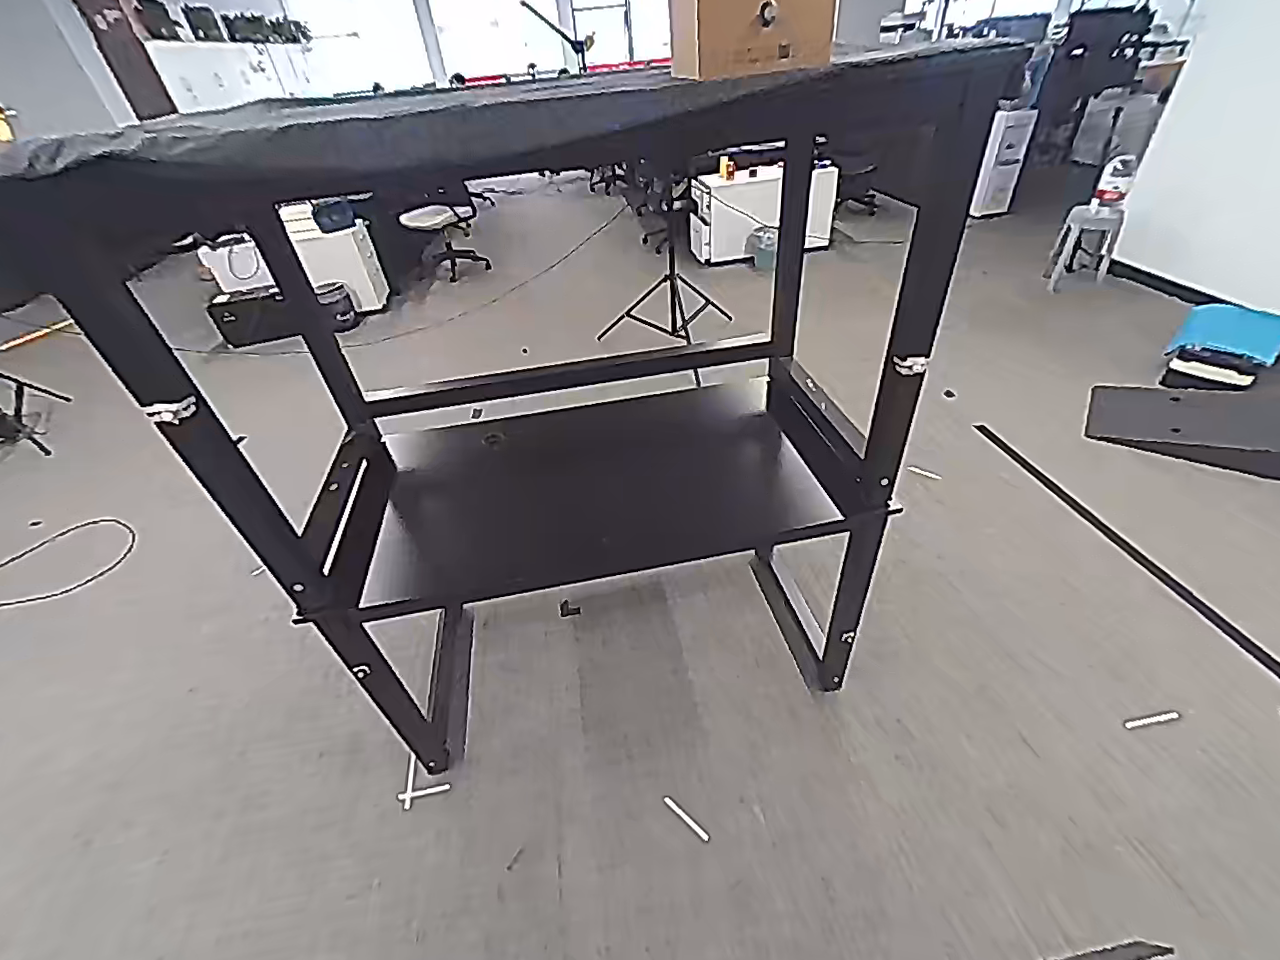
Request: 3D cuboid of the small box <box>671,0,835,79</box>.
[{"bbox_3d":[0.131,-0.606,0.667,0.168,0.176,0.179,-10,38,-3],"label":"small box"}]
